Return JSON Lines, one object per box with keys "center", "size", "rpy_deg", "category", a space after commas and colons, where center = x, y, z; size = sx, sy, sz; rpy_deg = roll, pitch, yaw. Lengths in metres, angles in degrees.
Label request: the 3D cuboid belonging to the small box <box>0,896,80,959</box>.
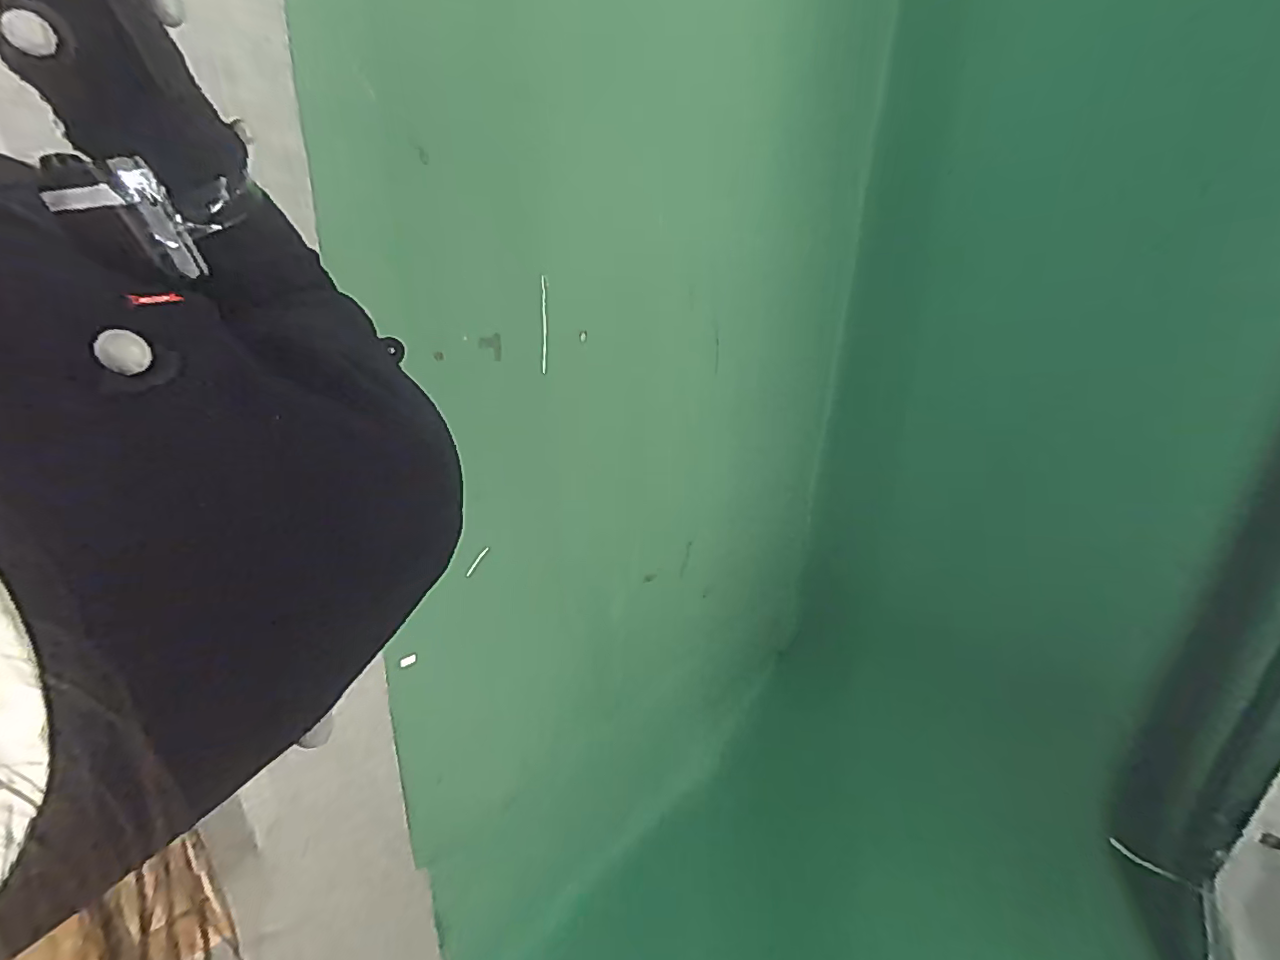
{"center": [-1.251, 0.994, 1.069], "size": [0.179, 0.176, 0.168], "rpy_deg": [-27, 125, -44], "category": "small box"}
